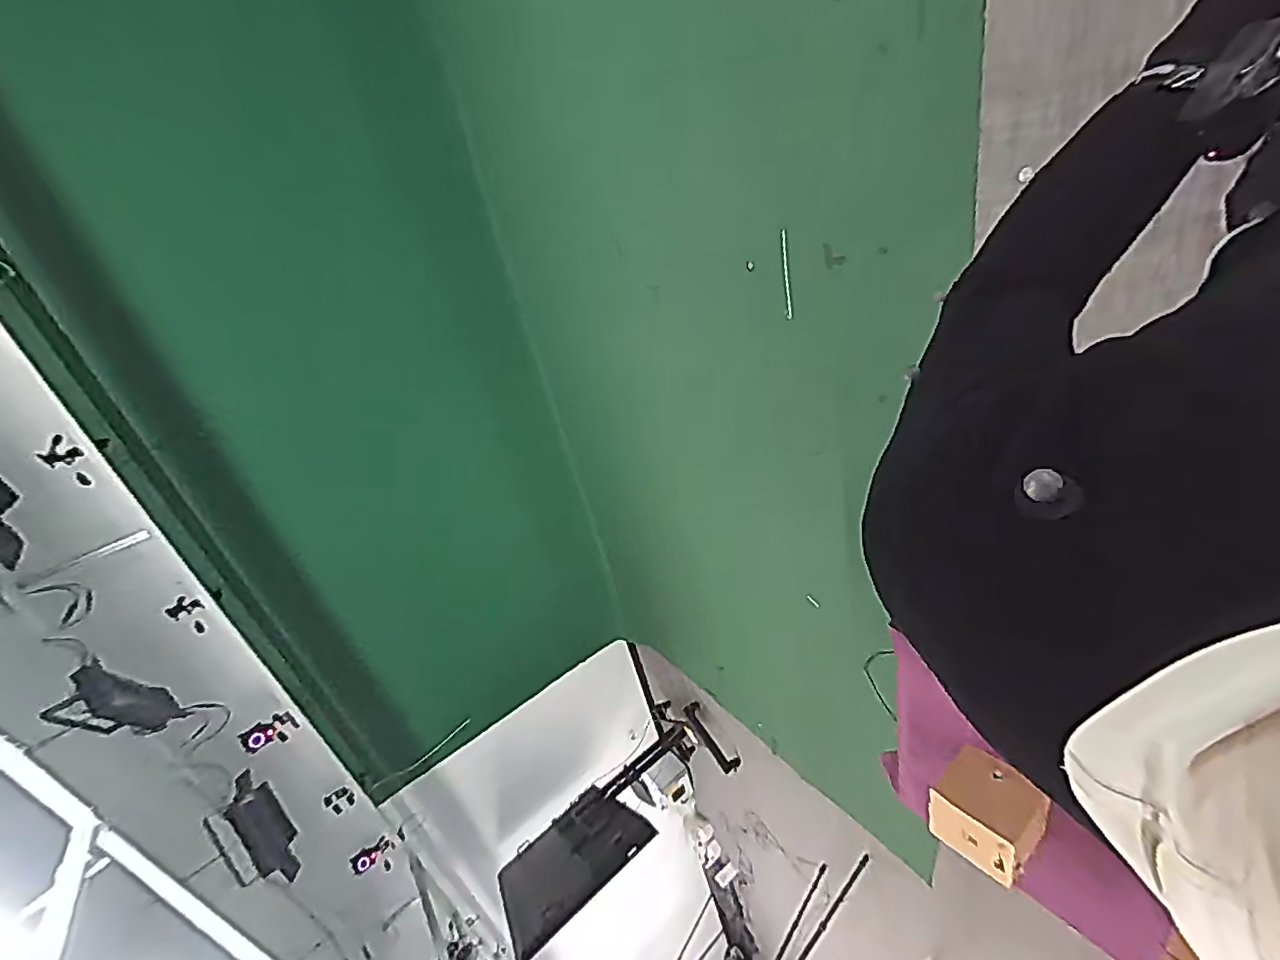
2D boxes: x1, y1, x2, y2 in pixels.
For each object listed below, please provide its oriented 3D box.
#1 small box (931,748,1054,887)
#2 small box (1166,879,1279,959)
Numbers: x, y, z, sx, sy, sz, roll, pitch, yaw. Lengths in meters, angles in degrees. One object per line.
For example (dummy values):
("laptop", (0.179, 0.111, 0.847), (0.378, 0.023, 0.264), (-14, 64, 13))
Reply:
("small box", (0.785, 0.741, 1.215), (0.179, 0.176, 0.168), (23, 136, 51))
("small box", (1.013, 0.835, 0.911), (0.168, 0.176, 0.179), (21, 135, 52))
